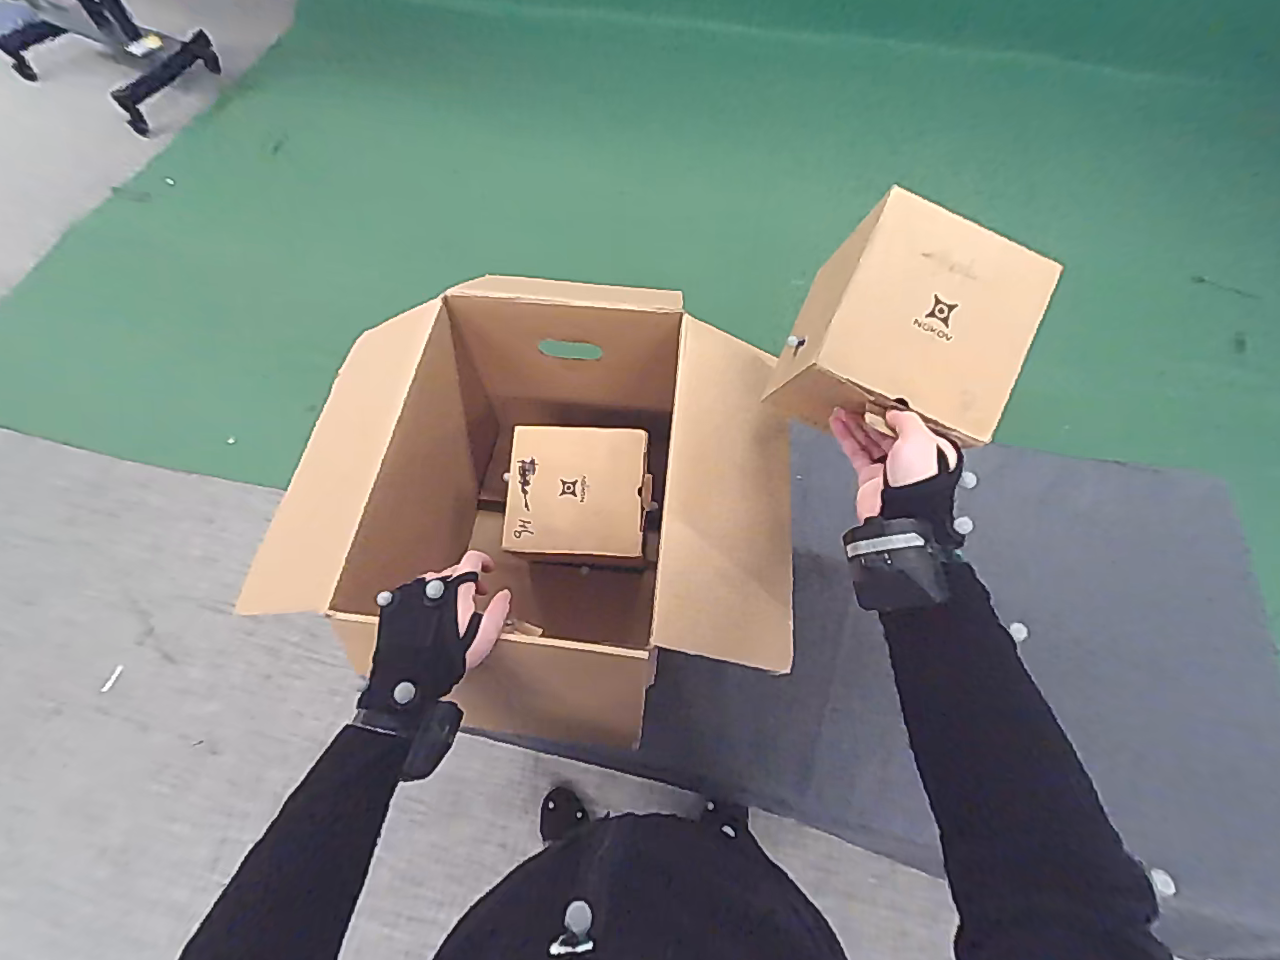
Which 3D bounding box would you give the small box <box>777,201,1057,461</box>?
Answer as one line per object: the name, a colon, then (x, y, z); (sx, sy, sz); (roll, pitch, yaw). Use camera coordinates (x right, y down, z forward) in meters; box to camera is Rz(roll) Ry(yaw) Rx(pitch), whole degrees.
small box: (0.260, -0.131, 0.553); (0.168, 0.176, 0.179); (25, 84, -2)
